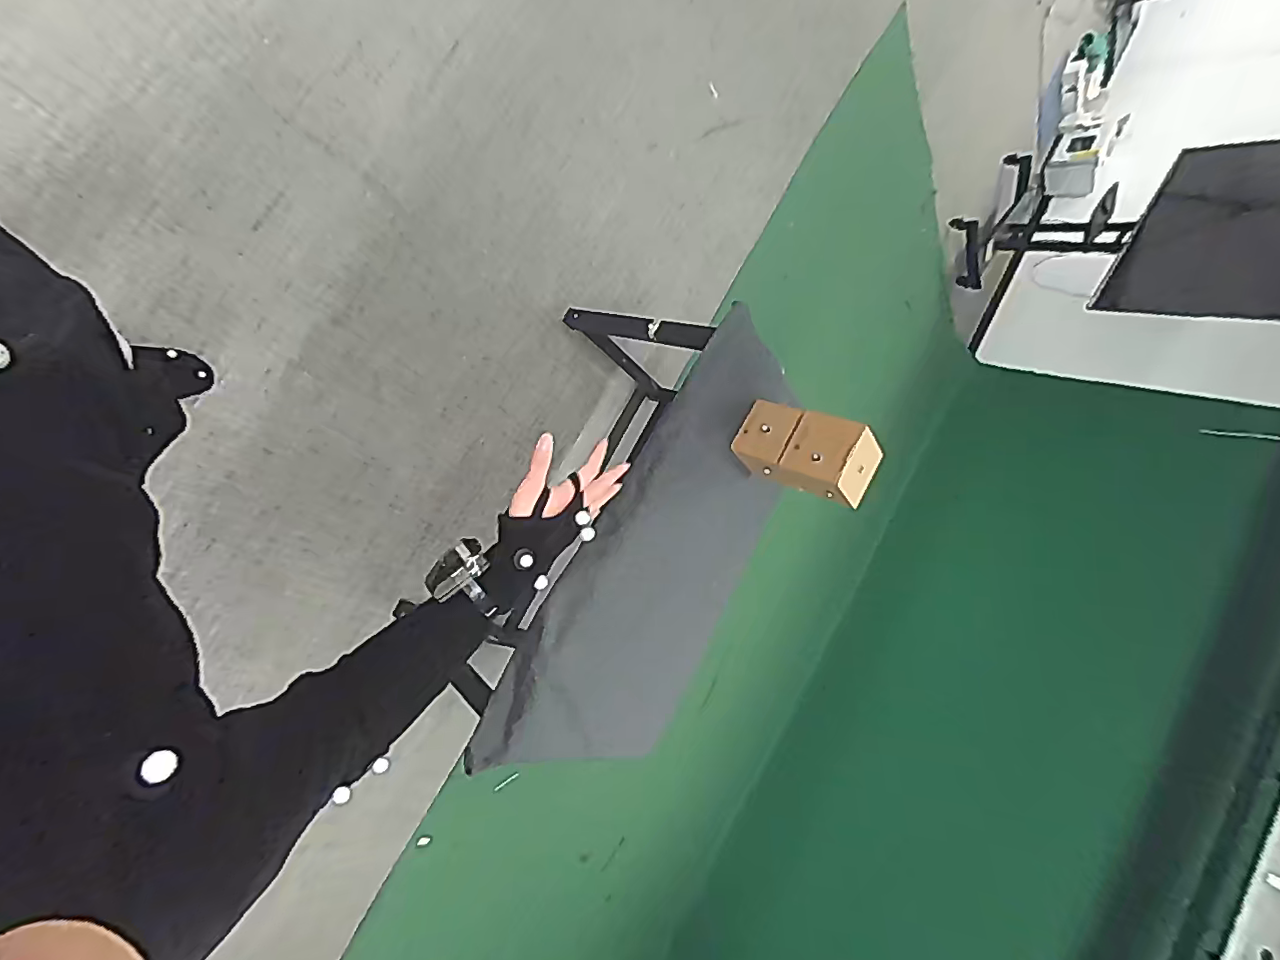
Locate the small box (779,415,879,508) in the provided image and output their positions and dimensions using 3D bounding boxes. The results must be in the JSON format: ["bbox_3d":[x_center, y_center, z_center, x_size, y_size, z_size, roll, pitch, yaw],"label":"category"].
[{"bbox_3d":[0.488,-0.053,1.401,0.179,0.176,0.168,35,82,-48],"label":"small box"}]

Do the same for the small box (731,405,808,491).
[{"bbox_3d":[0.384,-0.096,1.520,0.179,0.176,0.168,38,79,-47],"label":"small box"}]
